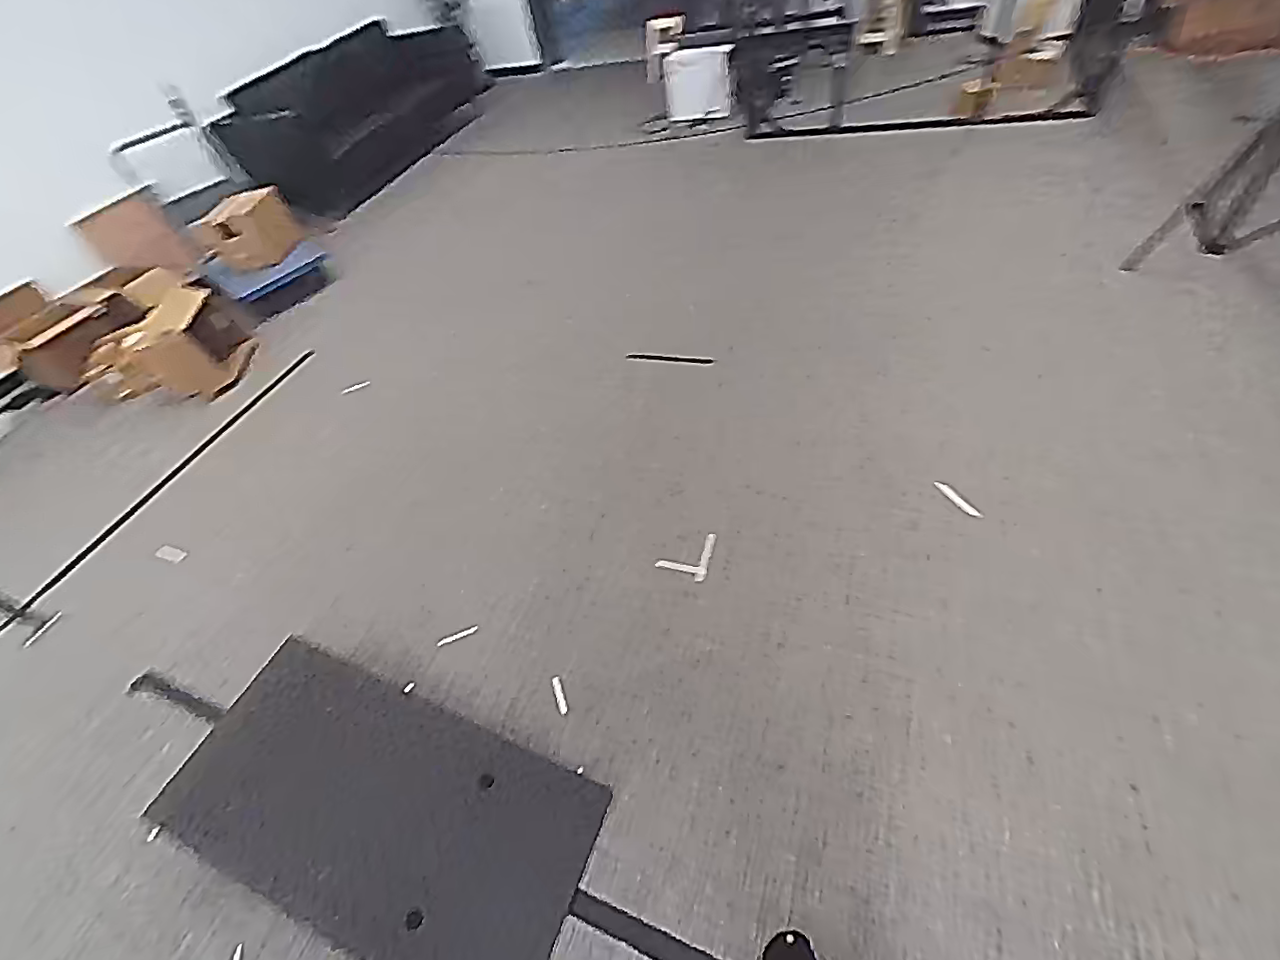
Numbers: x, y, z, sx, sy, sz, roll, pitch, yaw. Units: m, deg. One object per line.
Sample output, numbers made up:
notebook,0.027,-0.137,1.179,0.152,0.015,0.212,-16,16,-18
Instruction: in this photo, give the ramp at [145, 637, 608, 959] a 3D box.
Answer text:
ramp,-0.619,0.775,1.294,0.991,0.206,0.509,11,52,21
